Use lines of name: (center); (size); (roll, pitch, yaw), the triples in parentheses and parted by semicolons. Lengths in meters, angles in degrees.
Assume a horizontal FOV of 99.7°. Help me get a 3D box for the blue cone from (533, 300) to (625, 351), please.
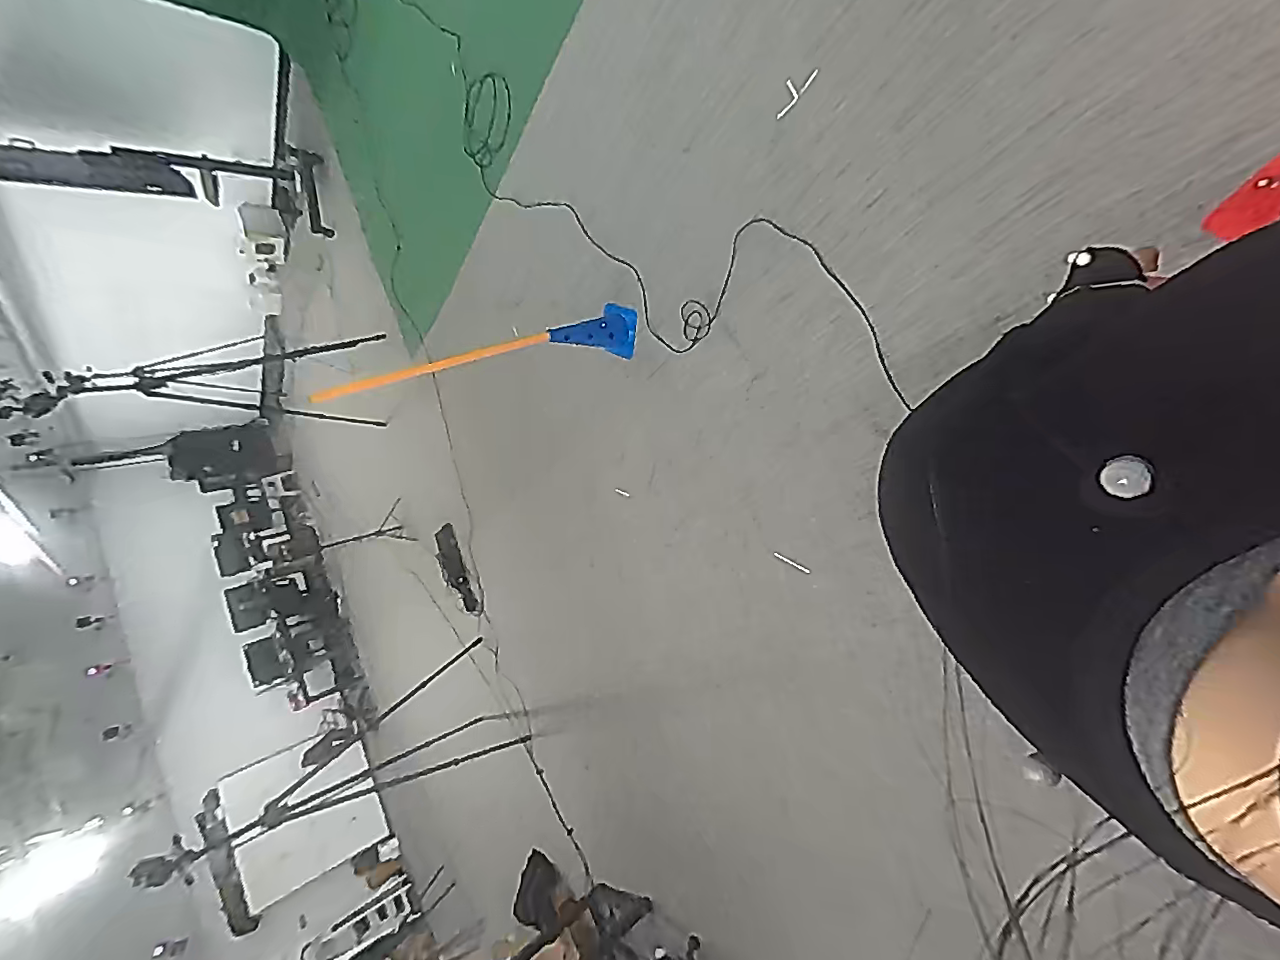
blue cone: (-0.247, -0.594, 2.121); (0.192, 0.380, 0.193); (28, 124, 38)
